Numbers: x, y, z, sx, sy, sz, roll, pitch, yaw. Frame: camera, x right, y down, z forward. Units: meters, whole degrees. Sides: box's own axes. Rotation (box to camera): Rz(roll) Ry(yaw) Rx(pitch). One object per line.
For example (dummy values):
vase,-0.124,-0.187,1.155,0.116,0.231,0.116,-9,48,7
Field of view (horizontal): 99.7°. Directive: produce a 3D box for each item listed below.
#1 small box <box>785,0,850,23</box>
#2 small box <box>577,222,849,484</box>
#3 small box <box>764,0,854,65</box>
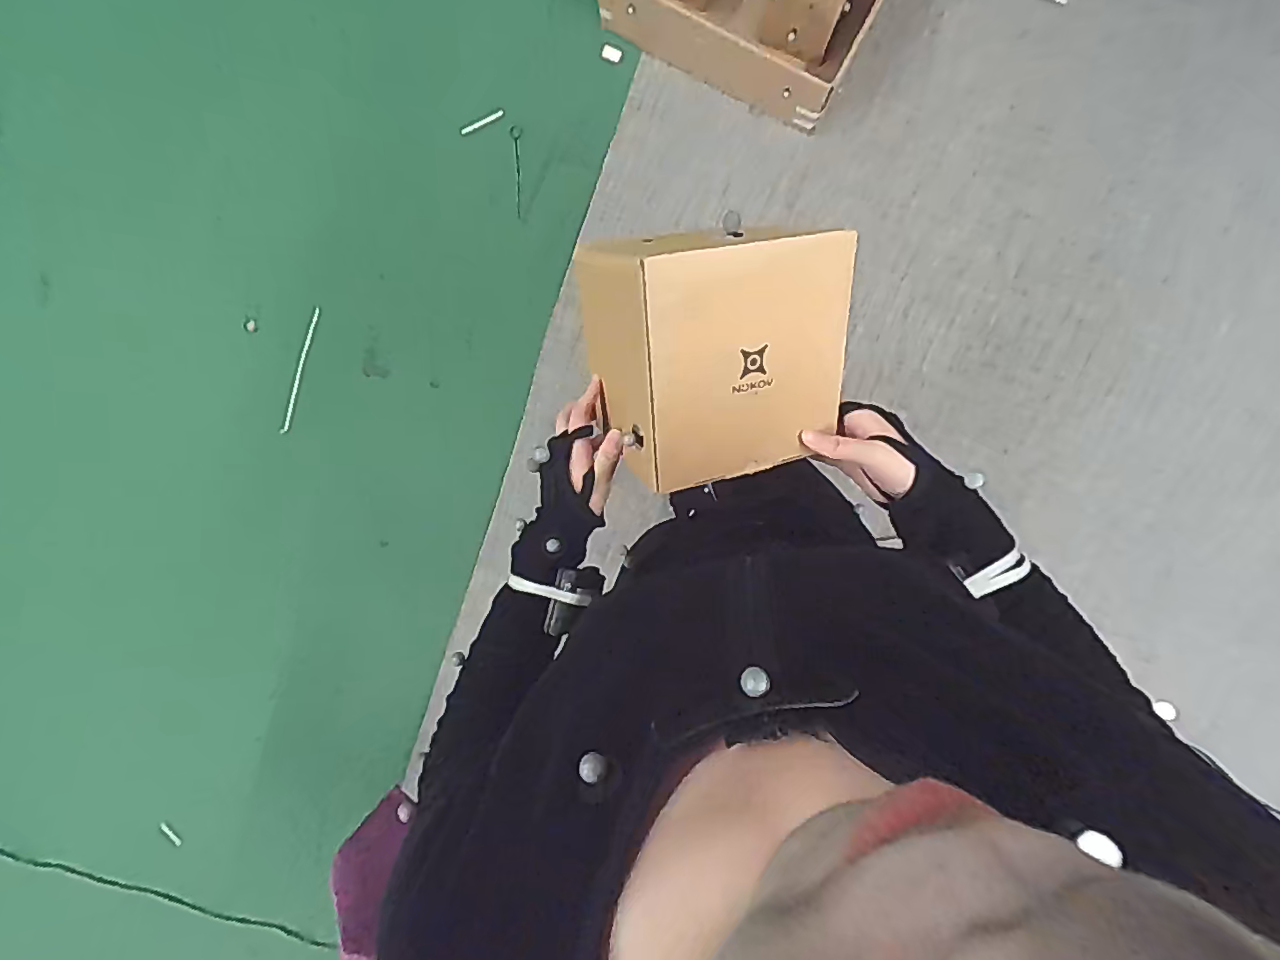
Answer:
small box,0.368,-1.052,1.046,0.168,0.176,0.179,26,98,3
small box,0.050,-0.123,0.468,0.168,0.176,0.179,-13,120,-16
small box,0.389,-1.084,1.206,0.168,0.176,0.179,24,99,3
